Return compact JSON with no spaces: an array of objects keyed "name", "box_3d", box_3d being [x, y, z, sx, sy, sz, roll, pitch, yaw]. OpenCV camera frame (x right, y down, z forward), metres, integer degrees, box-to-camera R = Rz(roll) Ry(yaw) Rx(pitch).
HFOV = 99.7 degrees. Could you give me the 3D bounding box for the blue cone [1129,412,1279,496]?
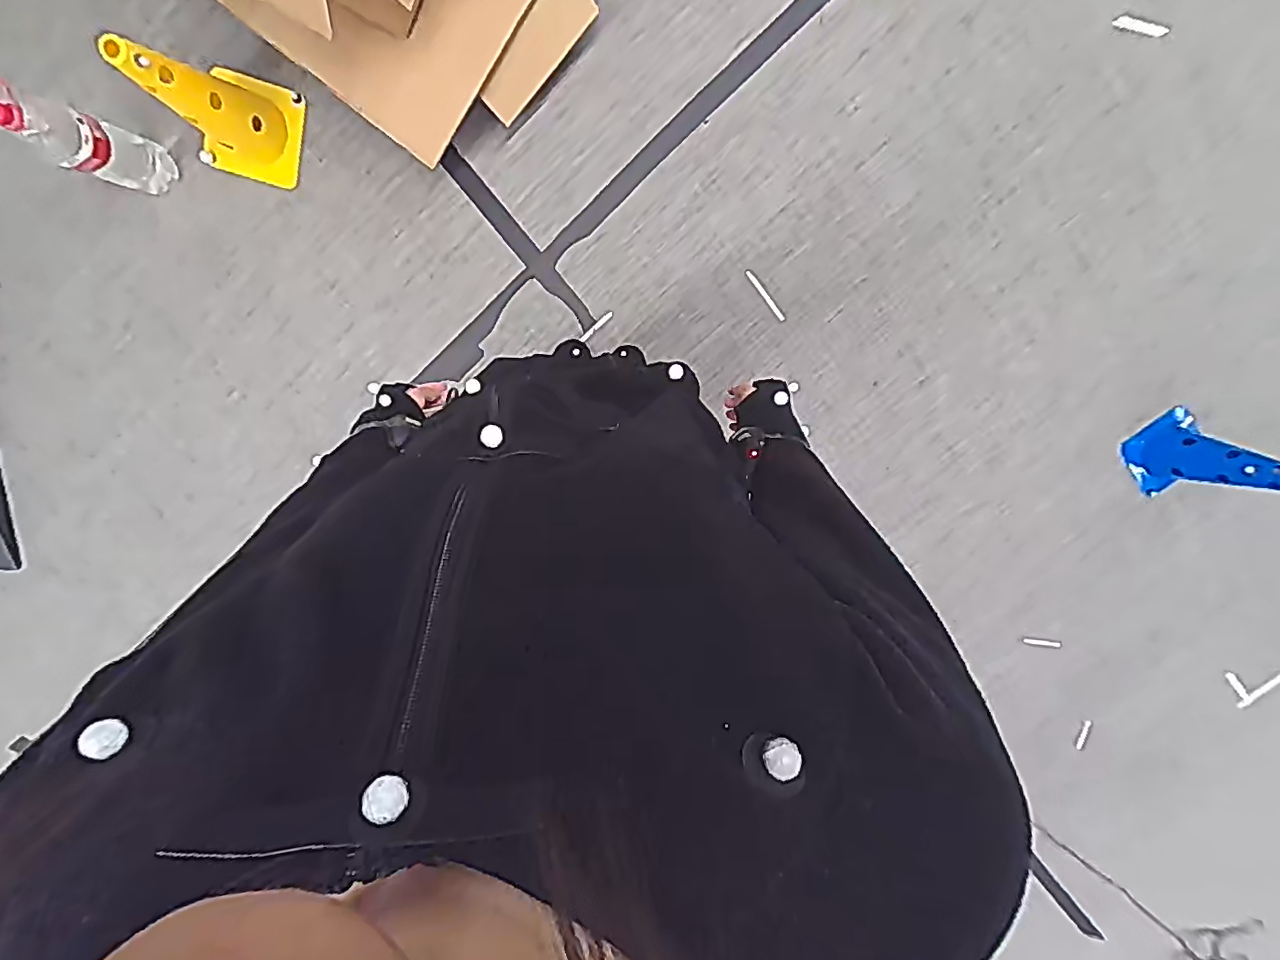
[{"name":"blue cone","box_3d":[1.471,-0.029,1.340,0.193,0.380,0.192,-36,104,7]}]
